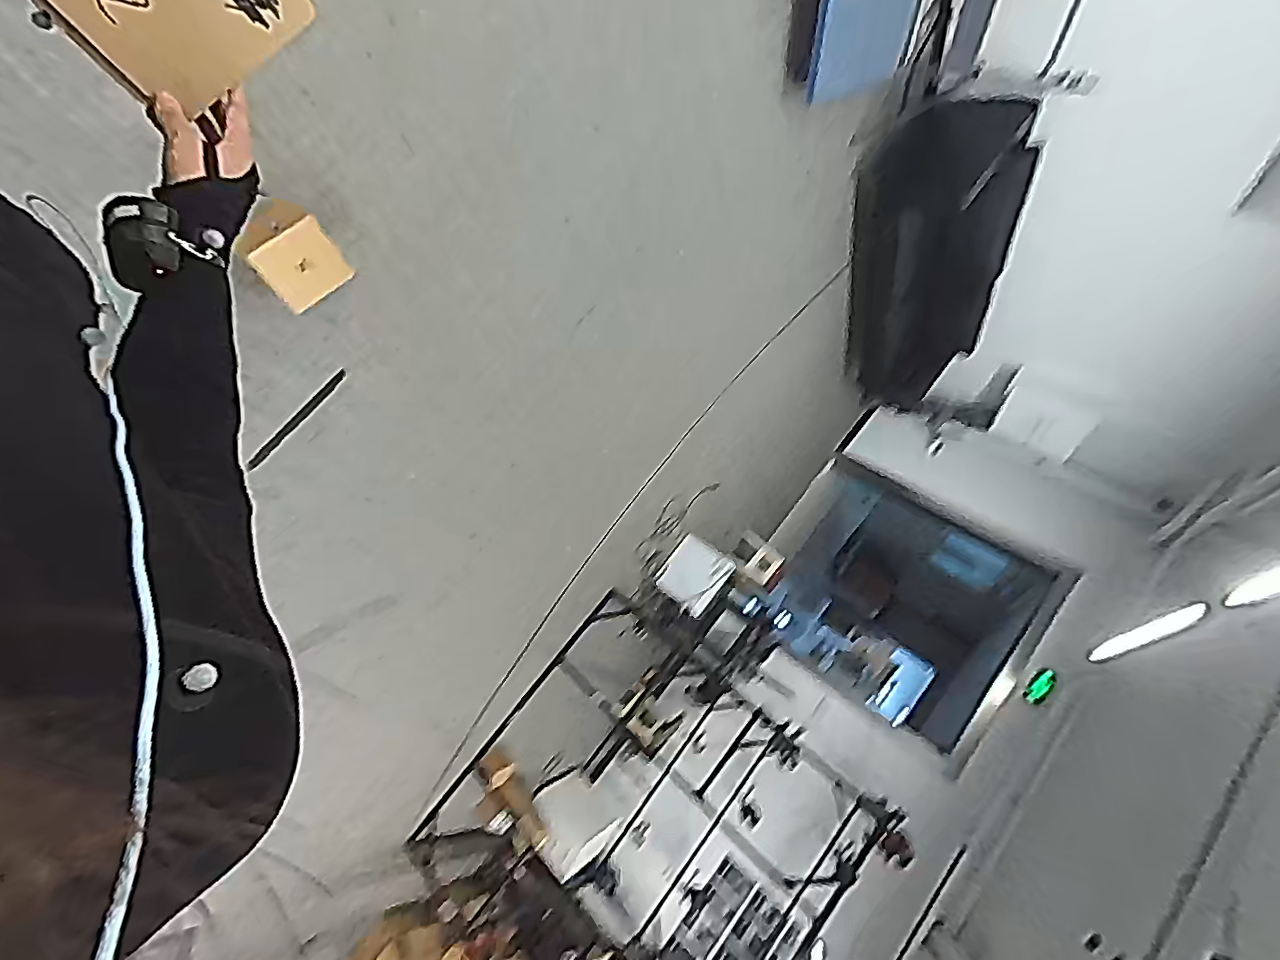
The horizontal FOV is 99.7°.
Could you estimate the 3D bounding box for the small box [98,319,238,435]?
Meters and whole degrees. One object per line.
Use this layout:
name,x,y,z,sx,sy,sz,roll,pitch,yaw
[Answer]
small box,-1.109,-0.245,1.268,0.179,0.176,0.168,-50,150,-9

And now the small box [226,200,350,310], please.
small box,-0.868,-0.554,1.326,0.179,0.176,0.168,-47,149,-18
